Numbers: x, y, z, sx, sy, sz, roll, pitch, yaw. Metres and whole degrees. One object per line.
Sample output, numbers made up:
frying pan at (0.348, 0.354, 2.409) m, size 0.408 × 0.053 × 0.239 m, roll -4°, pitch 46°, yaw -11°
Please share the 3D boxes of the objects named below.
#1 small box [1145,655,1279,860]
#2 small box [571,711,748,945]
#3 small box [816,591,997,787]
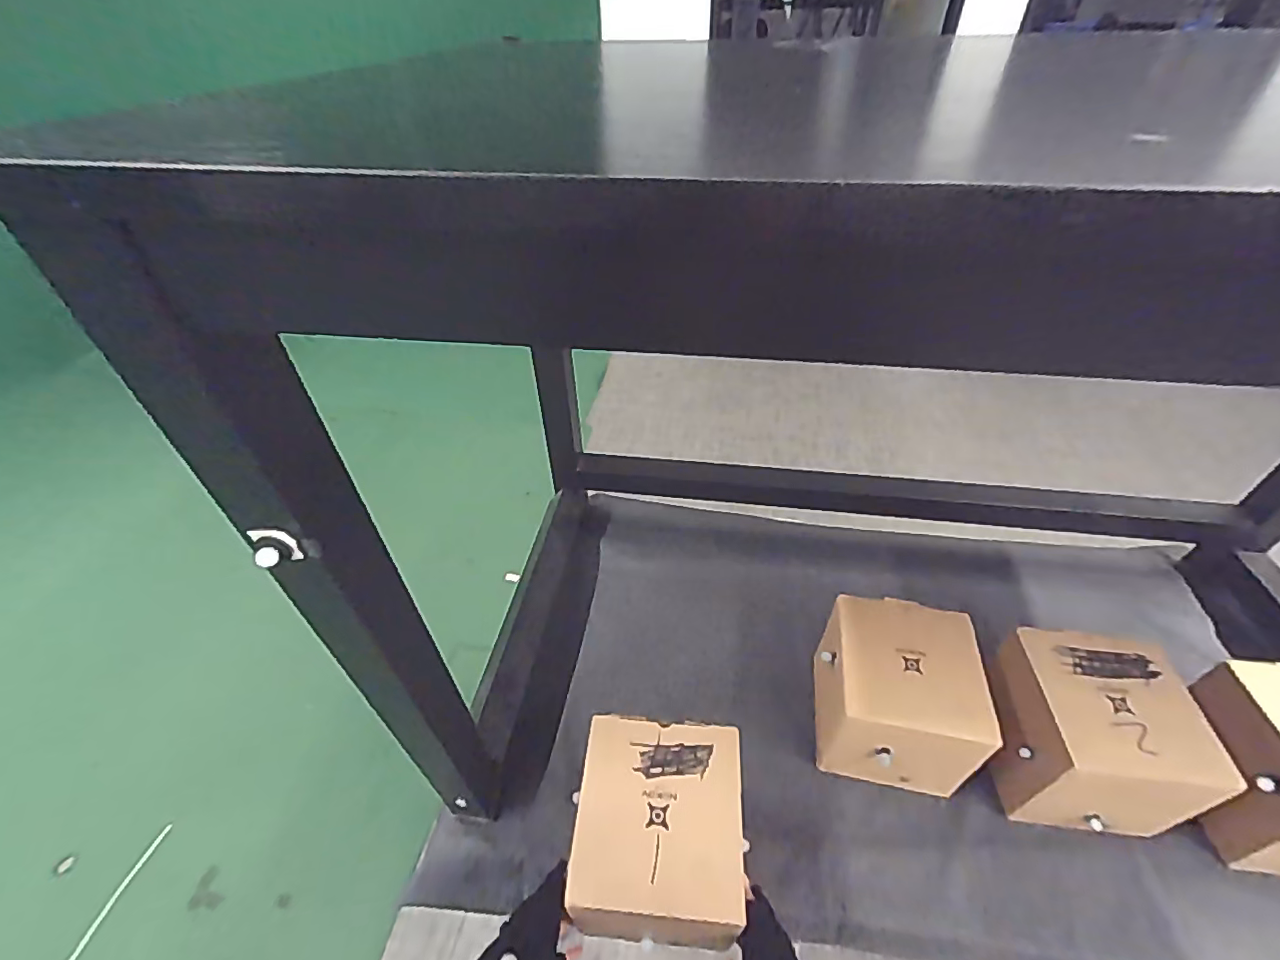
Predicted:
small box at (0.771, 0.335, 0.636) m, size 0.168 × 0.176 × 0.179 m, roll 4°, pitch 42°, yaw 6°
small box at (0.025, 0.386, 0.604) m, size 0.168 × 0.176 × 0.179 m, roll 3°, pitch 44°, yaw 5°
small box at (0.335, 0.278, 0.720) m, size 0.168 × 0.176 × 0.179 m, roll 7°, pitch 42°, yaw 10°
